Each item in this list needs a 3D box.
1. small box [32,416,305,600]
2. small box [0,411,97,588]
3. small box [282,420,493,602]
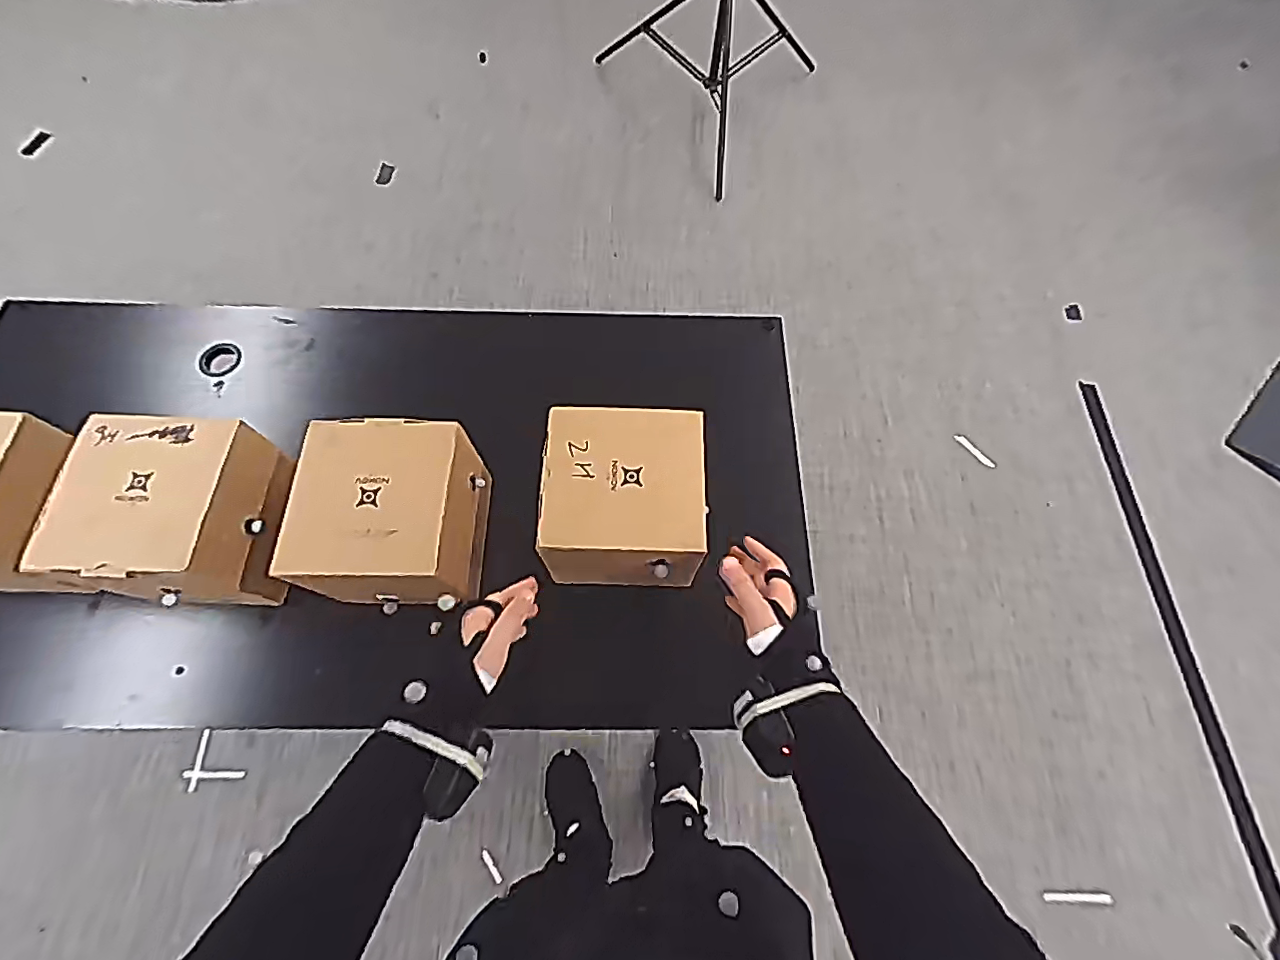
[{"bbox_3d":[-0.518,0.042,0.637,0.168,0.176,0.179,2,68,-2],"label":"small box"},{"bbox_3d":[-0.750,0.029,0.633,0.179,0.176,0.168,2,68,-2],"label":"small box"},{"bbox_3d":[-0.279,0.044,0.646,0.168,0.176,0.179,-1,68,-1],"label":"small box"}]
